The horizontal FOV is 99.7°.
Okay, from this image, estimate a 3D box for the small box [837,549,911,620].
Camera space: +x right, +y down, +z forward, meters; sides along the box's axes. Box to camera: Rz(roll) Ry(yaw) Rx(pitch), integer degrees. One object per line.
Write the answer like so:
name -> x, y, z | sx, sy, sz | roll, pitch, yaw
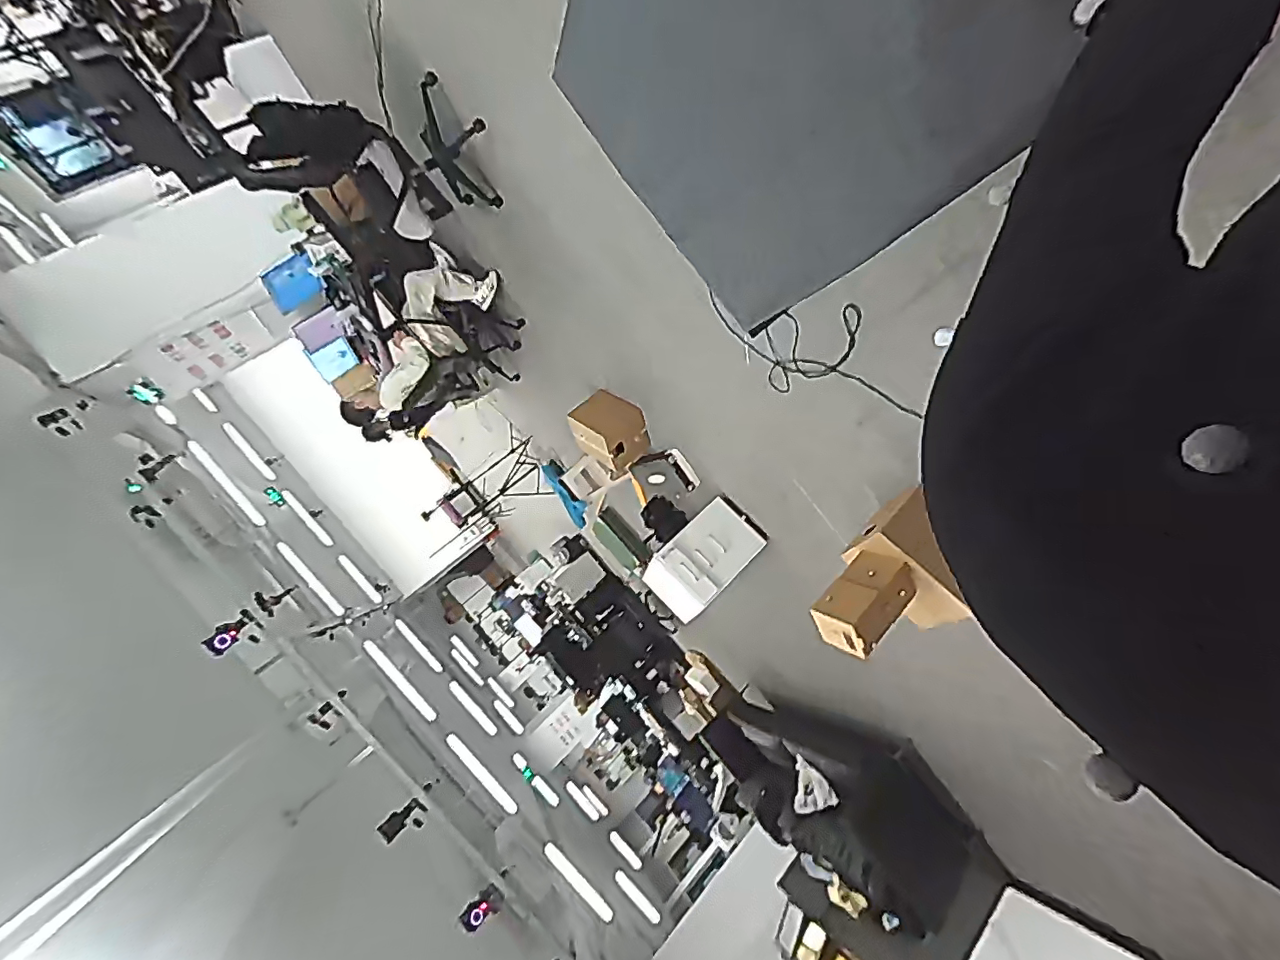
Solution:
small box -> 0.851, 0.370, 1.952 | 0.179, 0.176, 0.168 | 11, 137, 55
